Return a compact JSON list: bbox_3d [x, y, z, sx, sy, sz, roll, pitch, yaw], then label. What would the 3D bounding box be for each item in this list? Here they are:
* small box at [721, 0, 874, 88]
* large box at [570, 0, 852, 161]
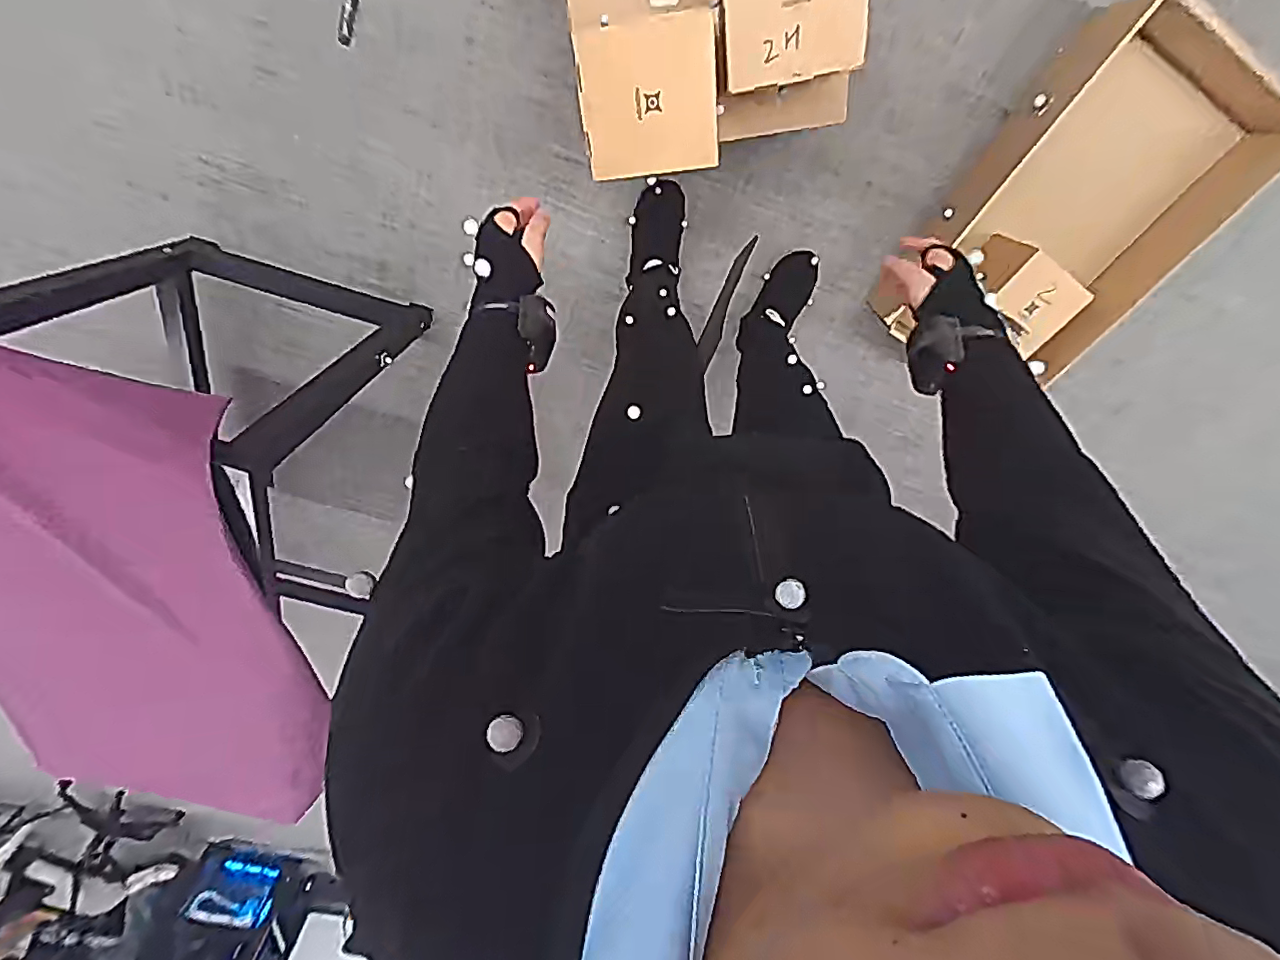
[{"bbox_3d":[0.189,-0.614,0.680,0.168,0.176,0.179,-5,125,9],"label":"small box"},{"bbox_3d":[0.115,-0.751,0.891,0.408,0.320,0.320,-4,124,8],"label":"large box"}]
